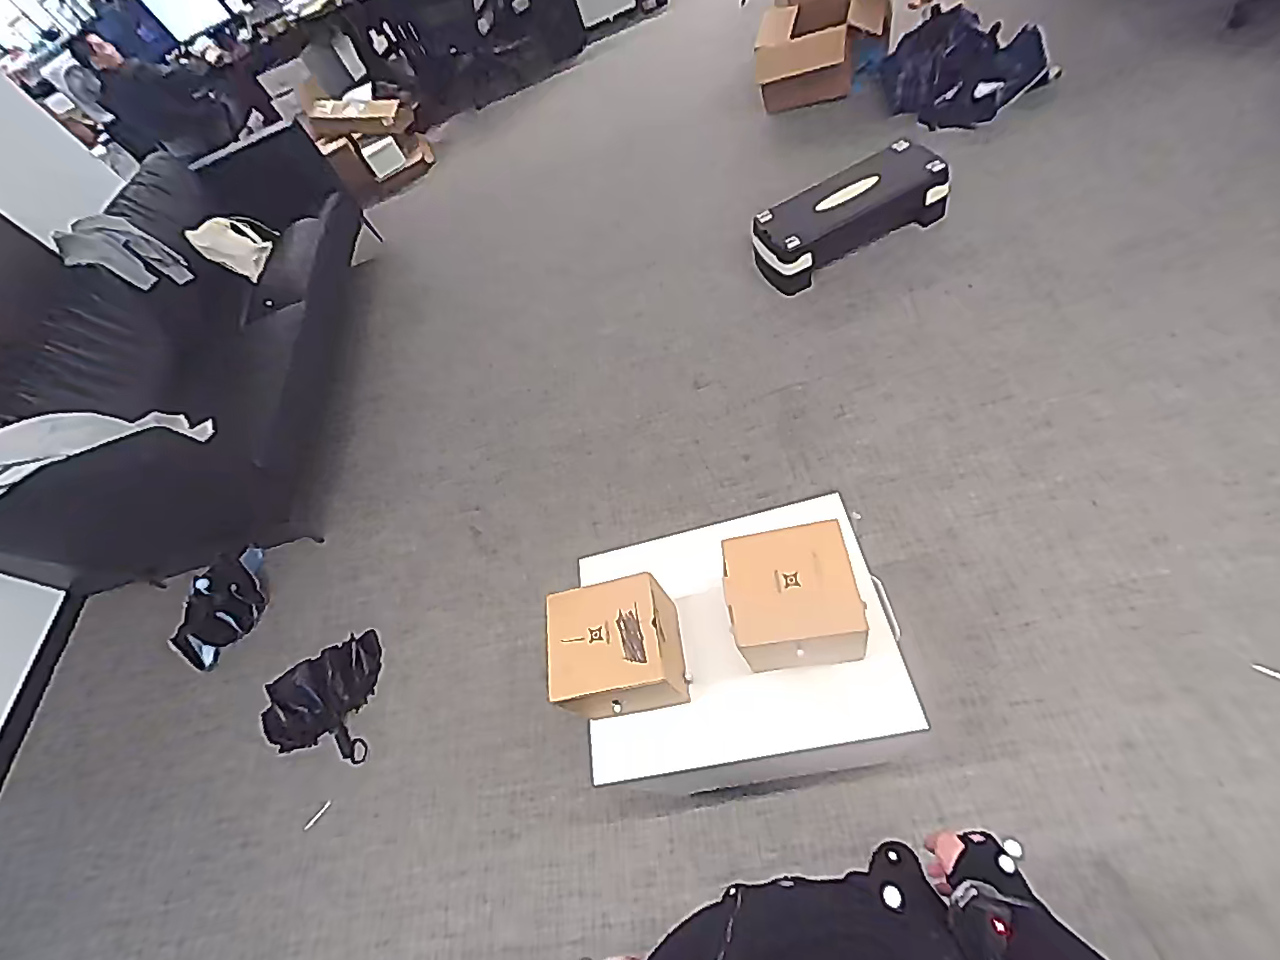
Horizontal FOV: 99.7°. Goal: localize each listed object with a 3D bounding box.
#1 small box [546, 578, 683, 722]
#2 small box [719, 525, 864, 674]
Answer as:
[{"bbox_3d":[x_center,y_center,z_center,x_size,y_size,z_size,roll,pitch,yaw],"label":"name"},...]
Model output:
[{"bbox_3d":[-0.035,0.277,0.865,0.179,0.176,0.168,-15,55,11],"label":"small box"},{"bbox_3d":[0.230,0.190,0.824,0.179,0.176,0.168,-12,57,13],"label":"small box"}]
